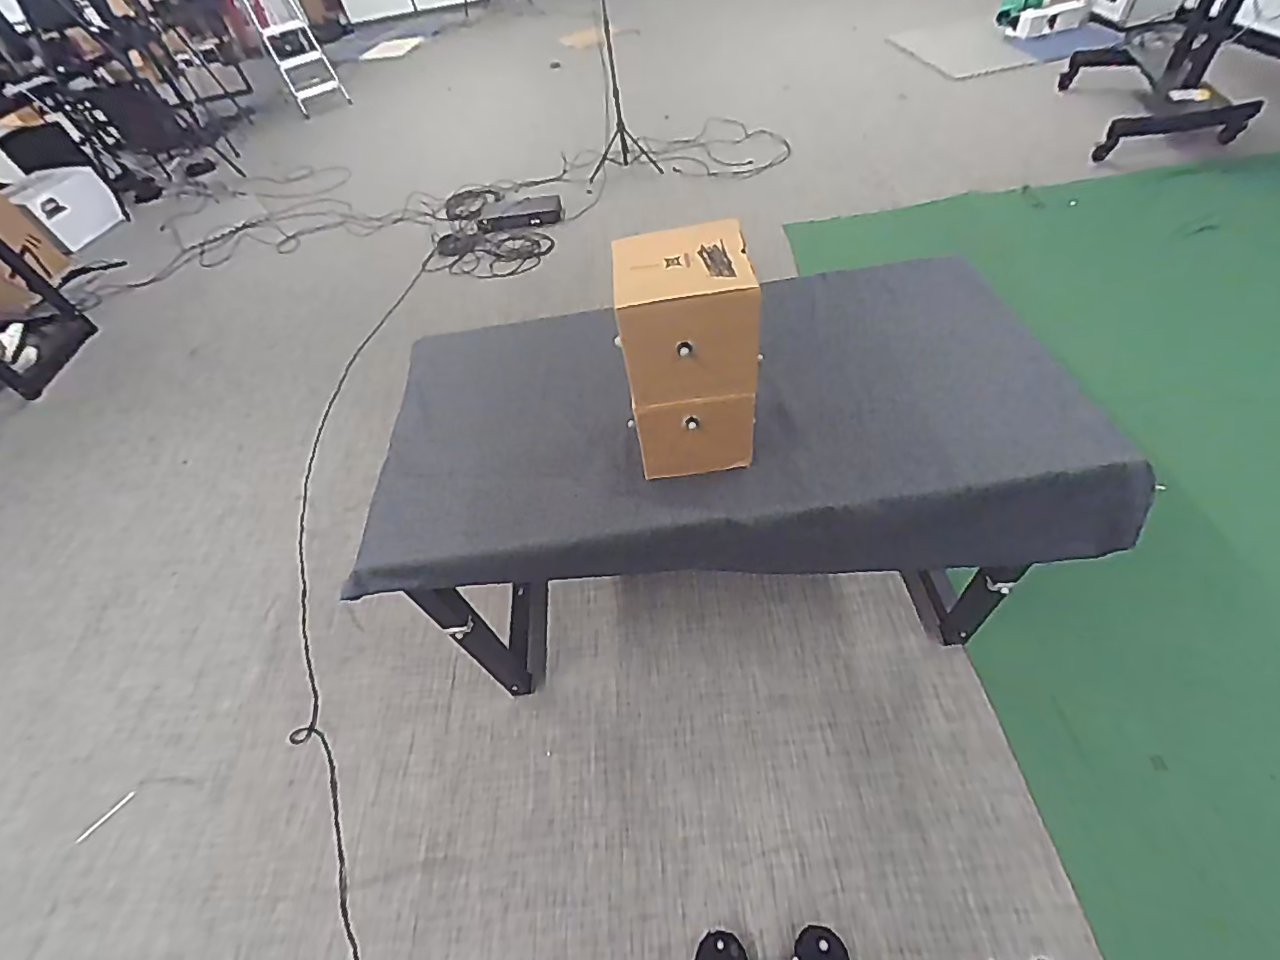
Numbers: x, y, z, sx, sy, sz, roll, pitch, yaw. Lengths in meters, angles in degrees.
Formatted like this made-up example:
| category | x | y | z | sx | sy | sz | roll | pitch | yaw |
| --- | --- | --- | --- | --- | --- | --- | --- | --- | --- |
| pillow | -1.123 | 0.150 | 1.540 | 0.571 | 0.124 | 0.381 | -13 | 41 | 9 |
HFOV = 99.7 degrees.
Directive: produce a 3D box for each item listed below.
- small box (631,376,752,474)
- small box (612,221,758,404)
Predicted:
| category | x | y | z | sx | sy | sz | roll | pitch | yaw |
| --- | --- | --- | --- | --- | --- | --- | --- | --- | --- |
| small box | 0.079 | -0.125 | 0.879 | 0.179 | 0.176 | 0.168 | -7 | 53 | 3 |
| small box | 0.061 | -0.226 | 0.751 | 0.179 | 0.176 | 0.168 | -7 | 52 | 5 |
